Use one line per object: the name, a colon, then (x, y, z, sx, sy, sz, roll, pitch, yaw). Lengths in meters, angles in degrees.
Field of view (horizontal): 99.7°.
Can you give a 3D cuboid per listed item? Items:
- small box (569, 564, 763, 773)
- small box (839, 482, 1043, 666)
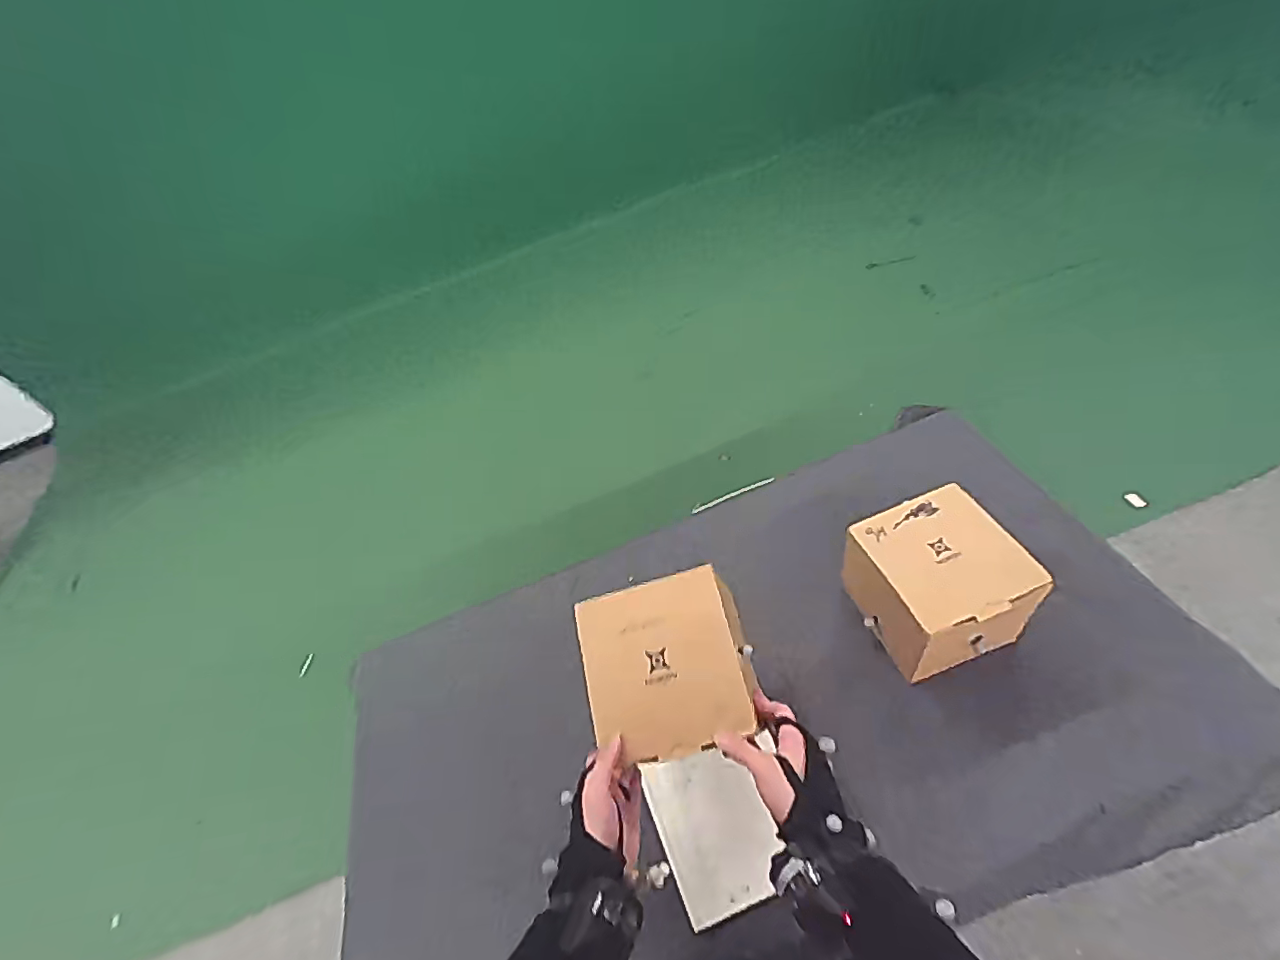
small box: (0.036, 0.218, 0.628, 0.168, 0.176, 0.179, -19, 64, 9)
small box: (0.400, 0.140, 0.757, 0.168, 0.176, 0.179, -21, 51, -3)
